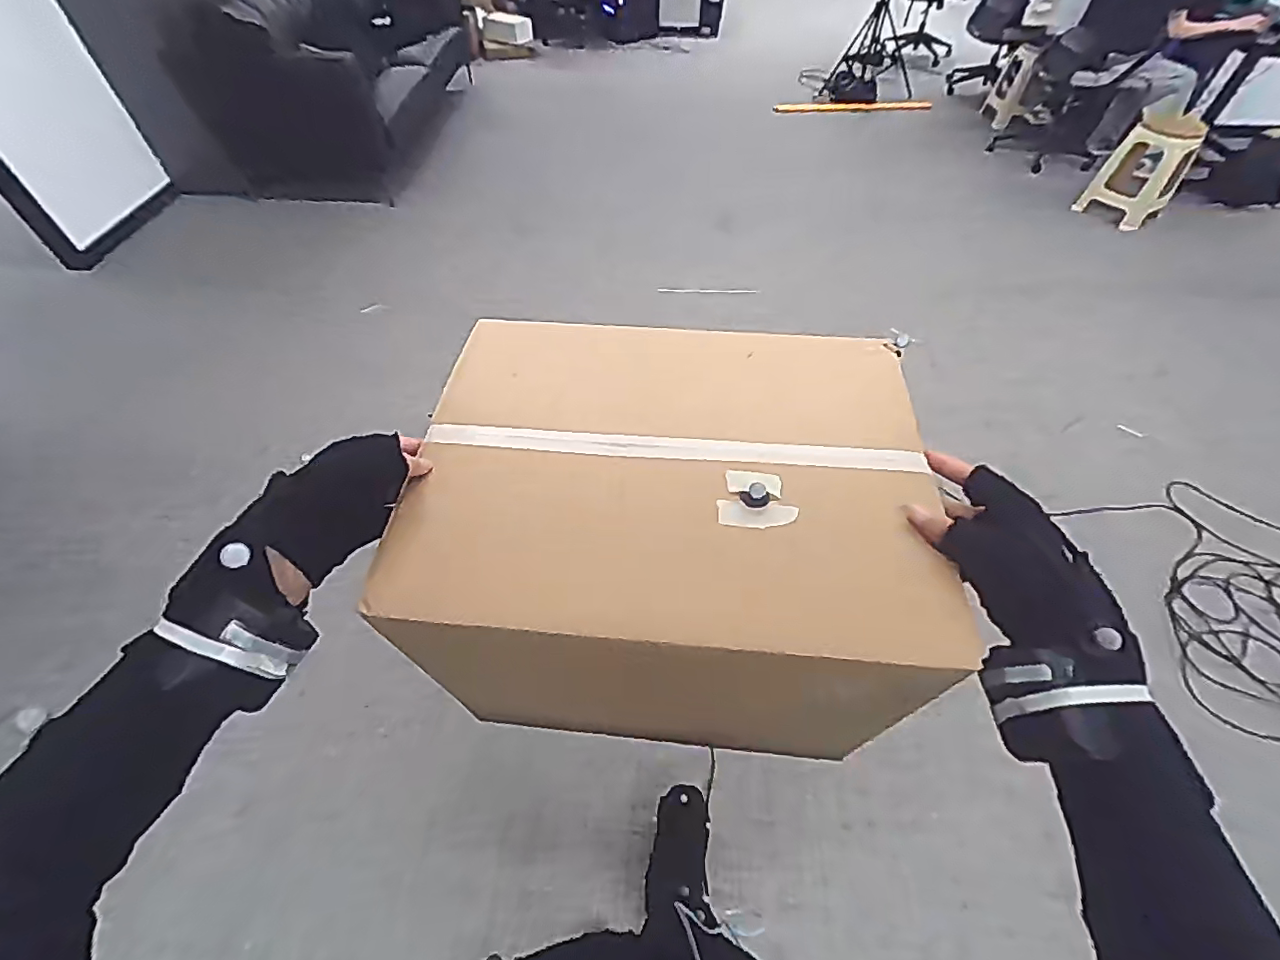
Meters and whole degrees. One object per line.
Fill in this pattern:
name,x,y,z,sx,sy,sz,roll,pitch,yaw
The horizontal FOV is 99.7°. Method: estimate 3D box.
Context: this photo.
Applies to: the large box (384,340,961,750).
large box,0.029,0.075,0.573,0.408,0.320,0.320,4,54,4
